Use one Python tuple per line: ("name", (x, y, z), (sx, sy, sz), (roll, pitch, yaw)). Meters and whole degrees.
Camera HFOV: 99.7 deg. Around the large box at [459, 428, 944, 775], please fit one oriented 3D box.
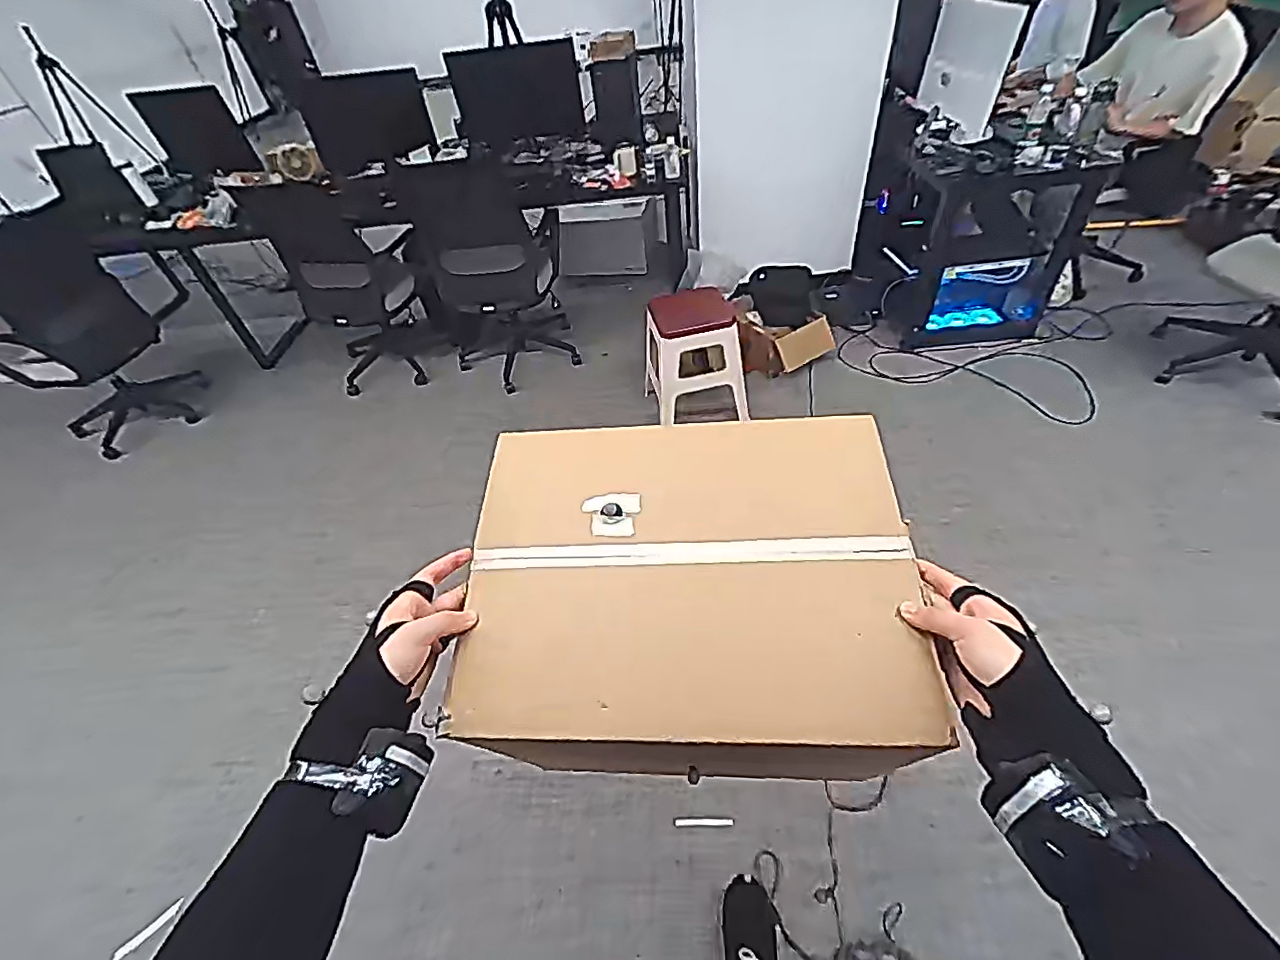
("large box", (0.063, 0.165, 0.642), (0.408, 0.320, 0.320), (-3, 55, 7))
